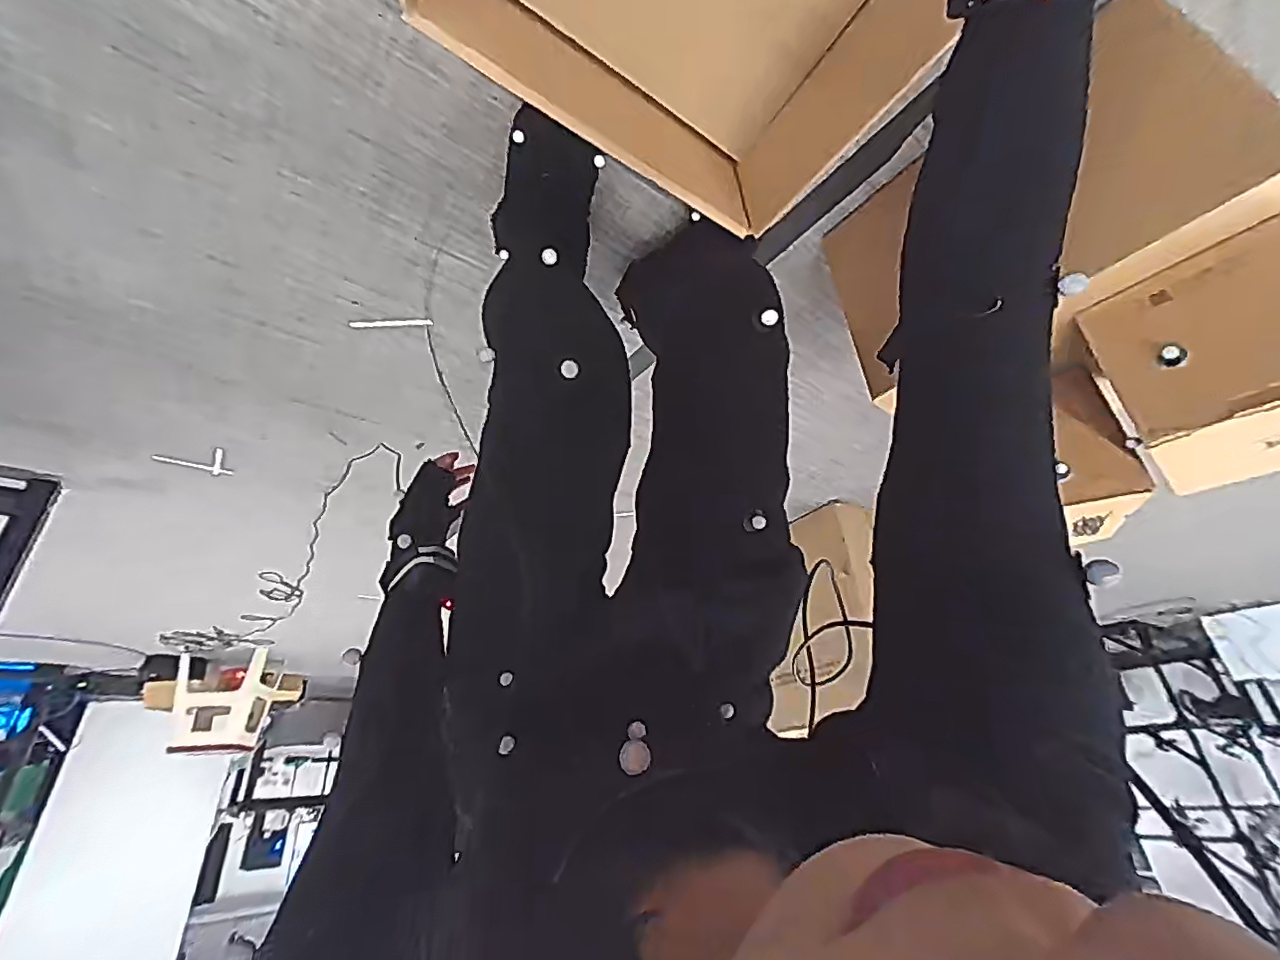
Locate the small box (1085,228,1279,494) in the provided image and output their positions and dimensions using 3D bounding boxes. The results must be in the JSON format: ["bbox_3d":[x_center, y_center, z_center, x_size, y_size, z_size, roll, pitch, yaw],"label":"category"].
[{"bbox_3d":[0.574,-0.110,0.521,0.179,0.176,0.168,19,146,-36],"label":"small box"}]

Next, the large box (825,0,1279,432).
[{"bbox_3d":[0.525,-0.281,0.709,0.320,0.320,0.408,18,145,-34],"label":"large box"}]
